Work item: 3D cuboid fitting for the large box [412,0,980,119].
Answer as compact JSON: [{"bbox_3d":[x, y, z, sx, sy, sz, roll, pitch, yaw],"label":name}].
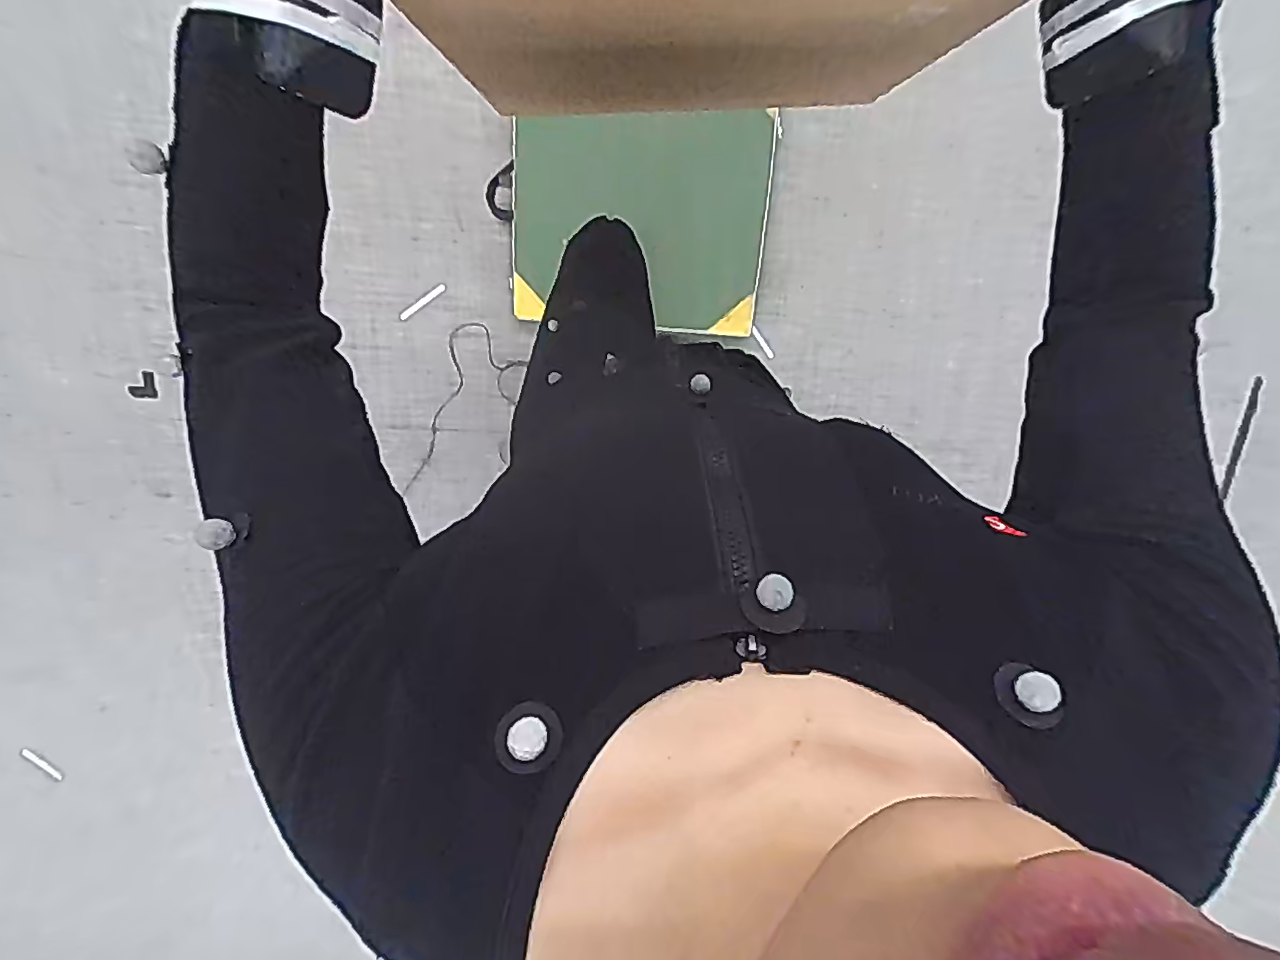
[{"bbox_3d":[0.038,-0.494,0.398,0.408,0.320,0.320,-3,112,-1],"label":"large box"}]
